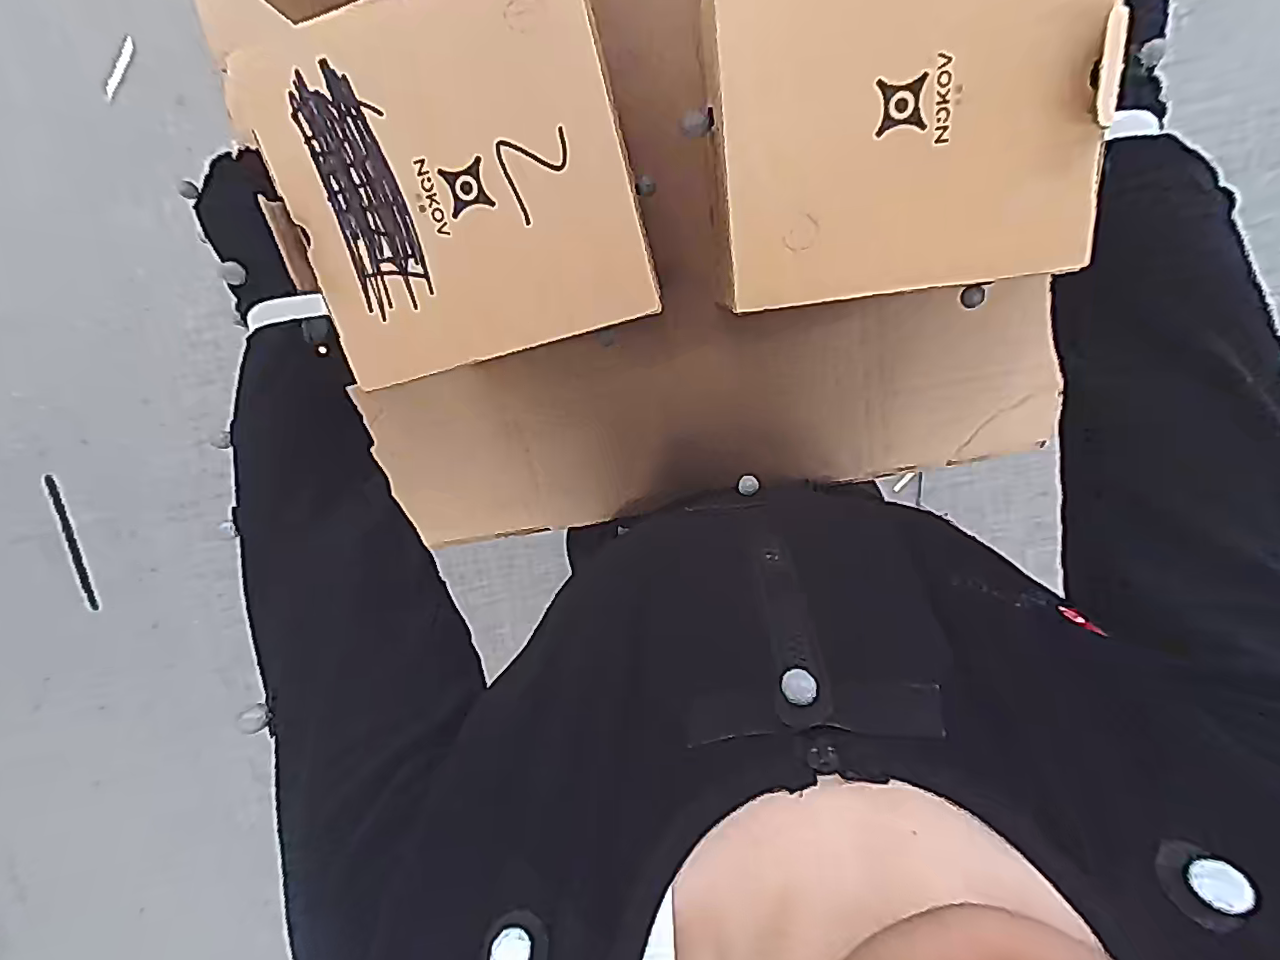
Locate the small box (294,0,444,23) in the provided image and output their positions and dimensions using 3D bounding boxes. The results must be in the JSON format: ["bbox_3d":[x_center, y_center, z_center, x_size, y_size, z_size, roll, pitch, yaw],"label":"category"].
[{"bbox_3d":[-0.168,-0.390,0.287,0.168,0.176,0.179,-11,105,6],"label":"small box"}]
